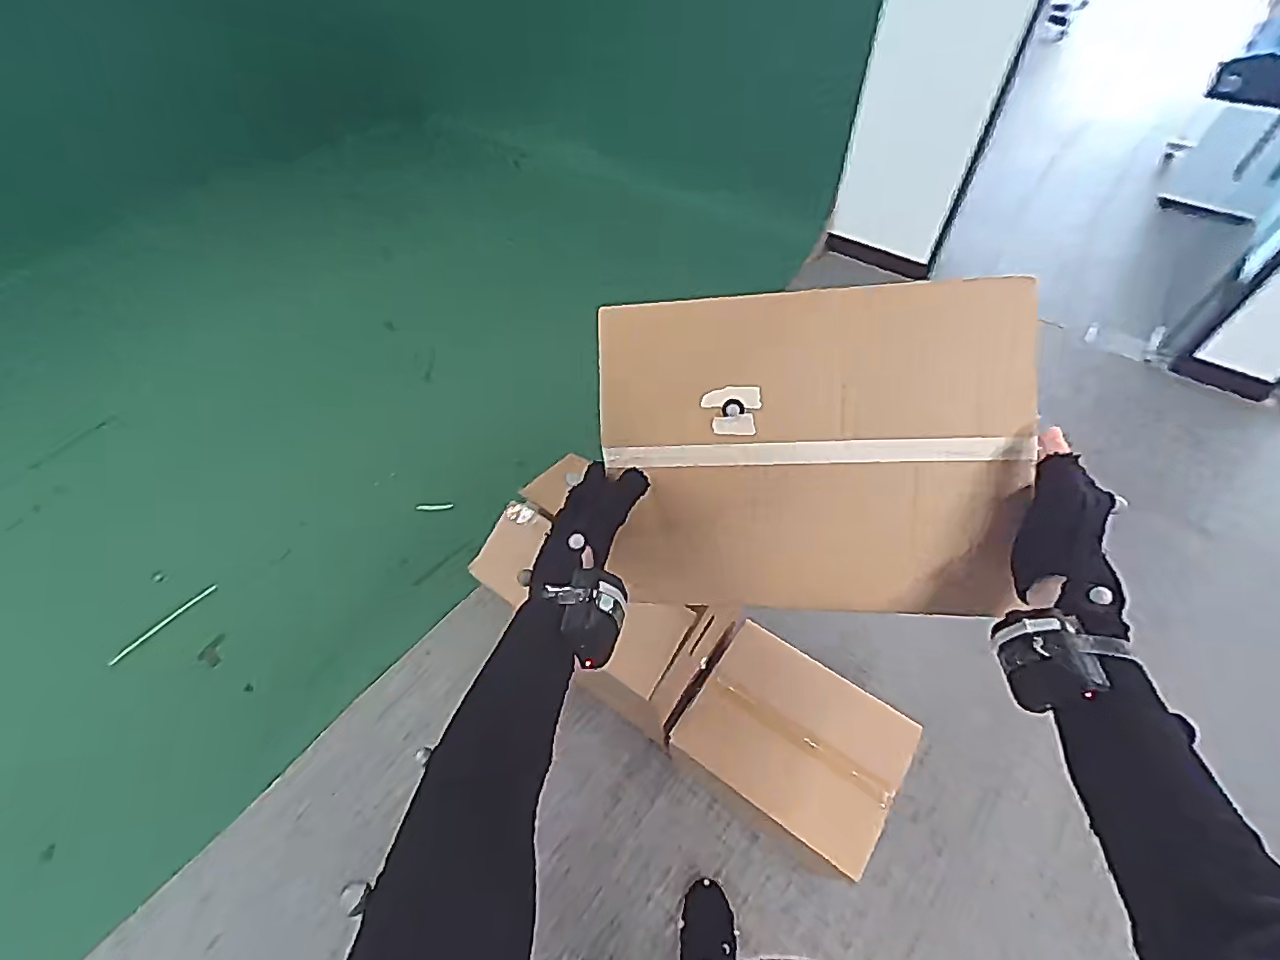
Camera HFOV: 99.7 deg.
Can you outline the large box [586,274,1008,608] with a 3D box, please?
[{"bbox_3d":[0.178,-0.038,0.682,0.408,0.320,0.320,-2,94,13],"label":"large box"}]
